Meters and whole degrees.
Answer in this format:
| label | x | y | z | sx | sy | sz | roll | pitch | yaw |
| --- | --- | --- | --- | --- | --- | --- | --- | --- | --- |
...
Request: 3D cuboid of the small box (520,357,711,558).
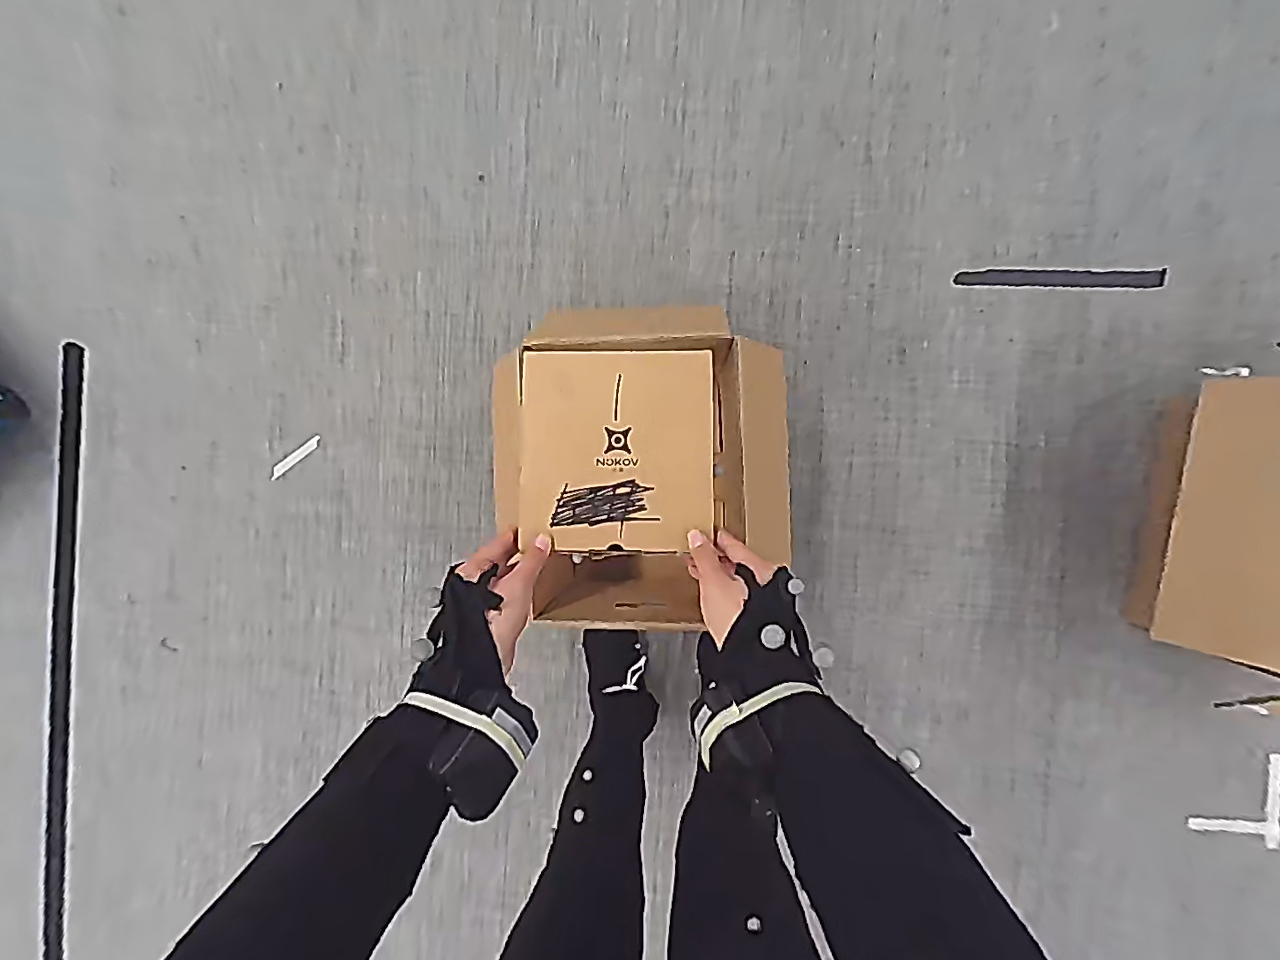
| label | x | y | z | sx | sy | sz | roll | pitch | yaw |
| --- | --- | --- | --- | --- | --- | --- | --- | --- | --- |
| small box | -0.017 | -0.013 | 0.546 | 0.168 | 0.176 | 0.179 | 0 | 83 | 1 |
